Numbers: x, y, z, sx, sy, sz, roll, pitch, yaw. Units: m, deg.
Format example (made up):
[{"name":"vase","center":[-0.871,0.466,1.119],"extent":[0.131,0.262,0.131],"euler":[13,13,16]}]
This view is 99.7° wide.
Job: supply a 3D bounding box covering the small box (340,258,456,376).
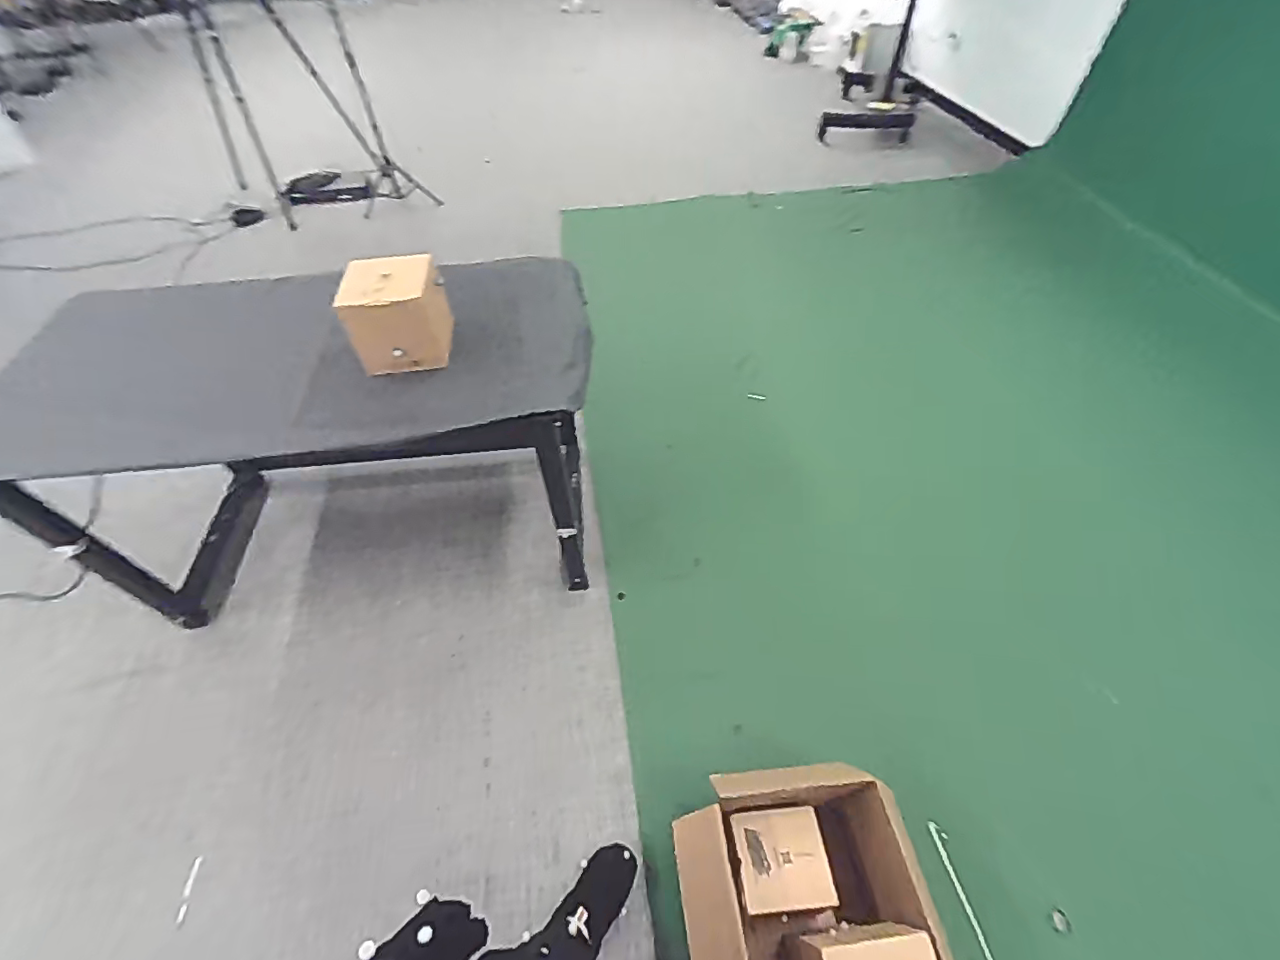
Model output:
[{"name":"small box","center":[-0.499,-0.345,1.146],"extent":[0.168,0.176,0.179],"euler":[-7,50,-4]}]
